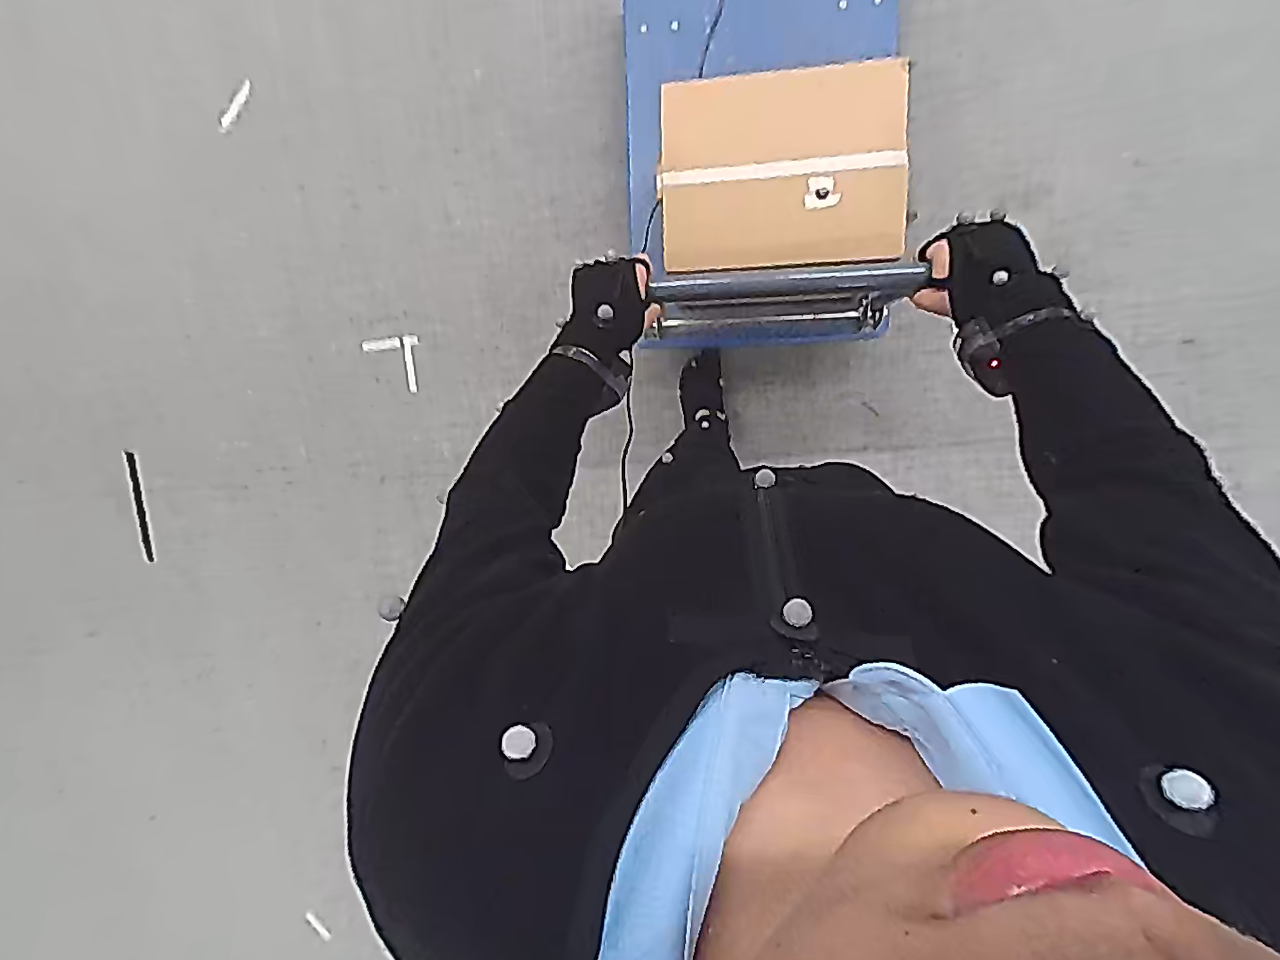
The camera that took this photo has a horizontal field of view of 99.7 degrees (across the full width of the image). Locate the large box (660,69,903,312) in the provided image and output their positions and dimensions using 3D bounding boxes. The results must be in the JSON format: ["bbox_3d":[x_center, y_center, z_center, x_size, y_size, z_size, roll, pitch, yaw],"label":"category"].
[{"bbox_3d":[0.253,-0.528,1.064,0.408,0.320,0.320,-1,97,7],"label":"large box"}]
